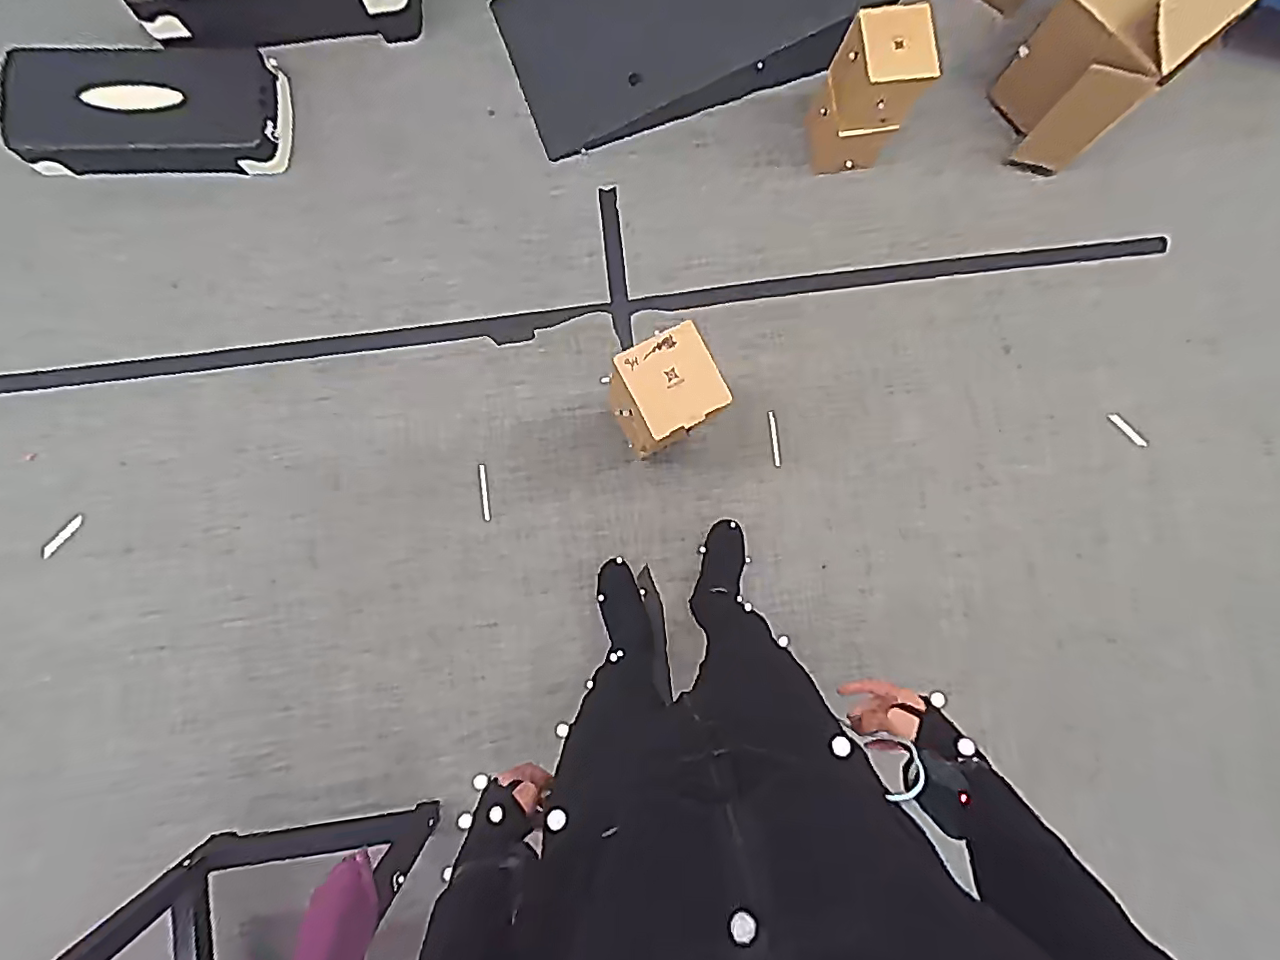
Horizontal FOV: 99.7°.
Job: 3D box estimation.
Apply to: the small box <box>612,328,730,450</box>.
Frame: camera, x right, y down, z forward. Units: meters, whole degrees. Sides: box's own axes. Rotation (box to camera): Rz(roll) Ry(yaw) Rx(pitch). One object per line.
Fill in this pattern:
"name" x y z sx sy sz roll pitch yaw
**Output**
"small box" 0.055 -0.169 1.076 0.168 0.176 0.179 -27 89 -5
